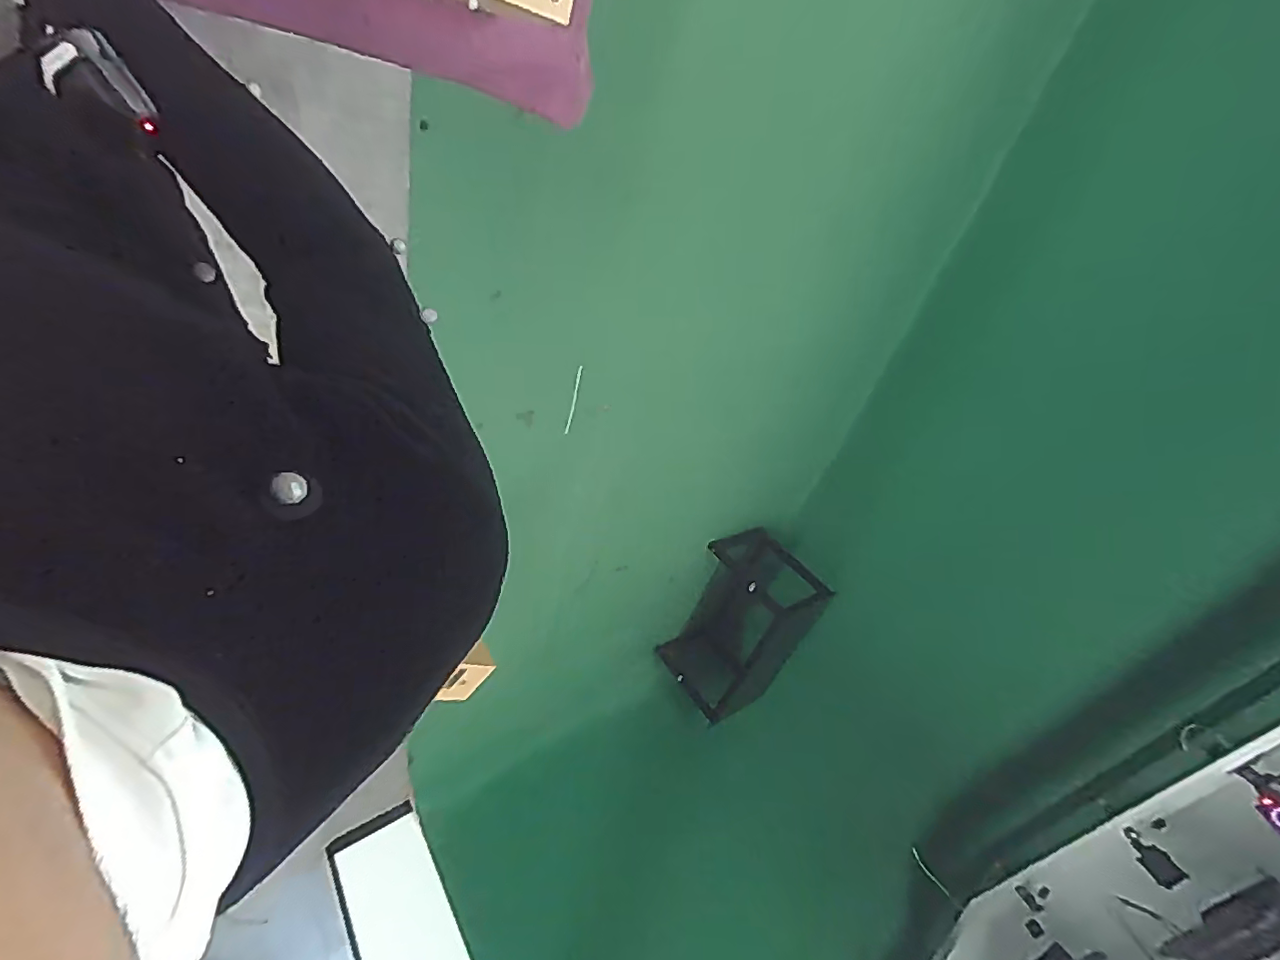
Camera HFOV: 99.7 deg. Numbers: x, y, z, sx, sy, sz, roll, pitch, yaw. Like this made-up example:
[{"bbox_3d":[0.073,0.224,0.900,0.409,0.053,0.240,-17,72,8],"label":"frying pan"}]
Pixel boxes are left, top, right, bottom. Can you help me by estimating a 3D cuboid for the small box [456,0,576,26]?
[{"bbox_3d":[-0.164,-0.598,0.544,0.168,0.176,0.179,-12,132,-37],"label":"small box"}]
